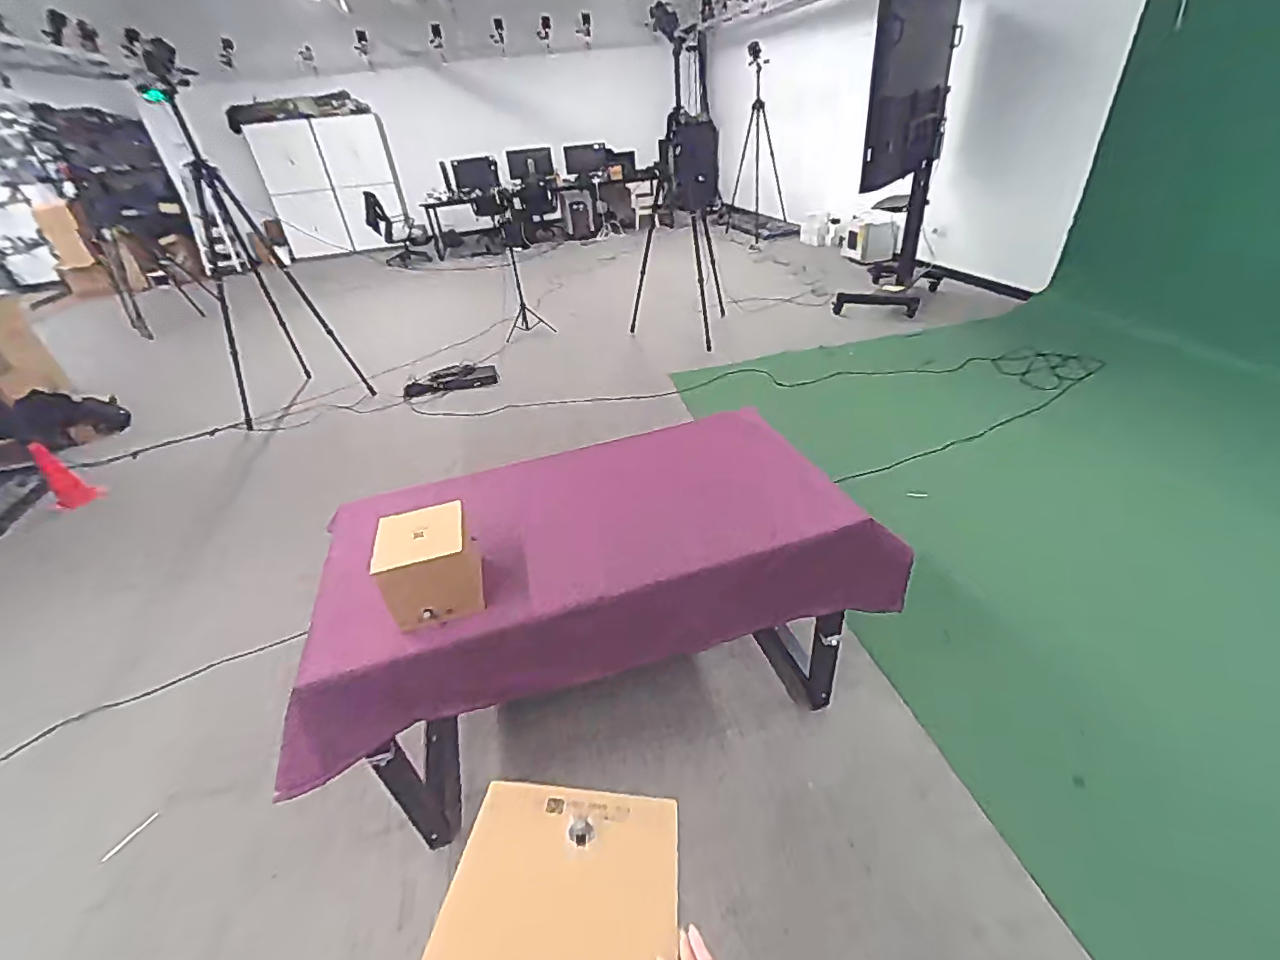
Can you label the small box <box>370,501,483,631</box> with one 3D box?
[{"bbox_3d":[-0.424,0.173,1.098,0.168,0.176,0.179,-14,35,-10],"label":"small box"}]
